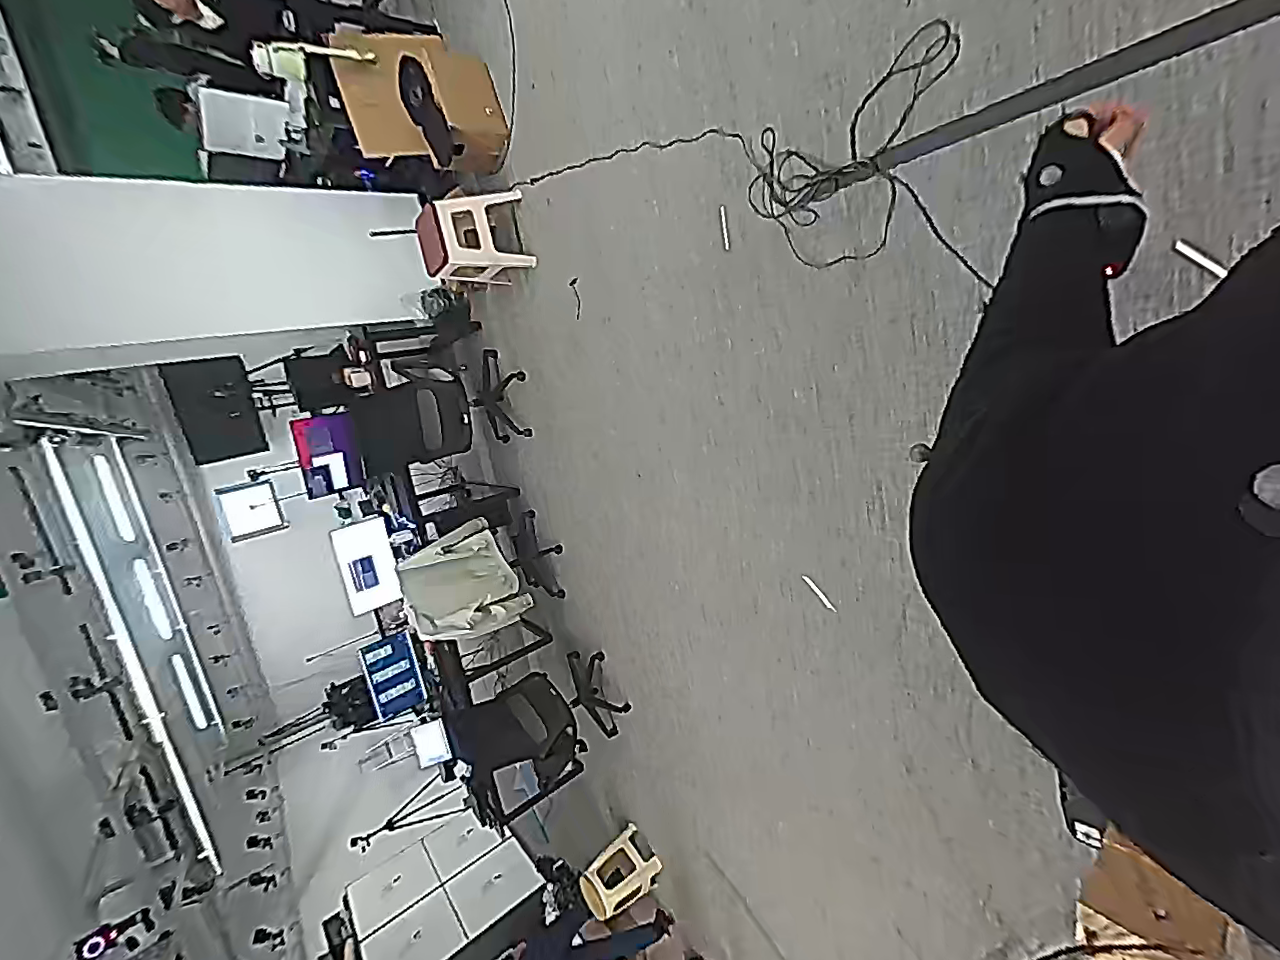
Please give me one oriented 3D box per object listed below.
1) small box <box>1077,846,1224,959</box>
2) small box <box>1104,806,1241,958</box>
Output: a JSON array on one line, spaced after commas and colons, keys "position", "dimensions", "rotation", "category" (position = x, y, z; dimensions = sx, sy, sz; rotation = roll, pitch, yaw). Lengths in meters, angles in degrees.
[{"position": [0.940, 0.833, 0.998], "dimensions": [0.179, 0.176, 0.168], "rotation": [7, 112, 51], "category": "small box"}, {"position": [1.065, 0.773, 1.085], "dimensions": [0.179, 0.176, 0.168], "rotation": [6, 111, 52], "category": "small box"}]
